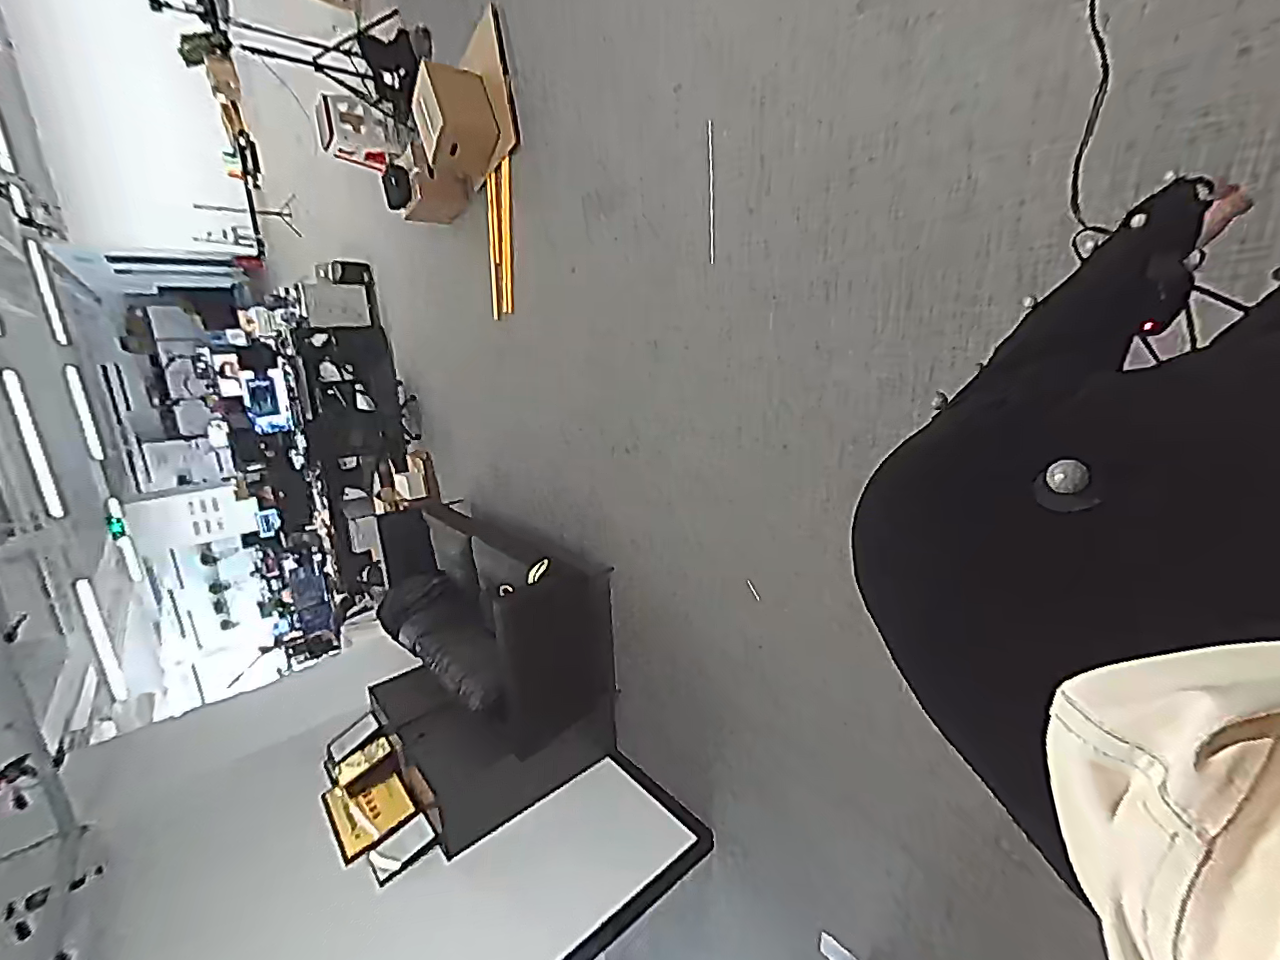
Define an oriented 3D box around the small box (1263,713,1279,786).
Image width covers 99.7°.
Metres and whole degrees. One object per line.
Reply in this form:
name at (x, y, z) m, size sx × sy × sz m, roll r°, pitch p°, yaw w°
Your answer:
small box at (1.317, 0.500, 1.004) m, size 0.168 × 0.176 × 0.179 m, roll 22°, pitch 119°, yaw 46°
